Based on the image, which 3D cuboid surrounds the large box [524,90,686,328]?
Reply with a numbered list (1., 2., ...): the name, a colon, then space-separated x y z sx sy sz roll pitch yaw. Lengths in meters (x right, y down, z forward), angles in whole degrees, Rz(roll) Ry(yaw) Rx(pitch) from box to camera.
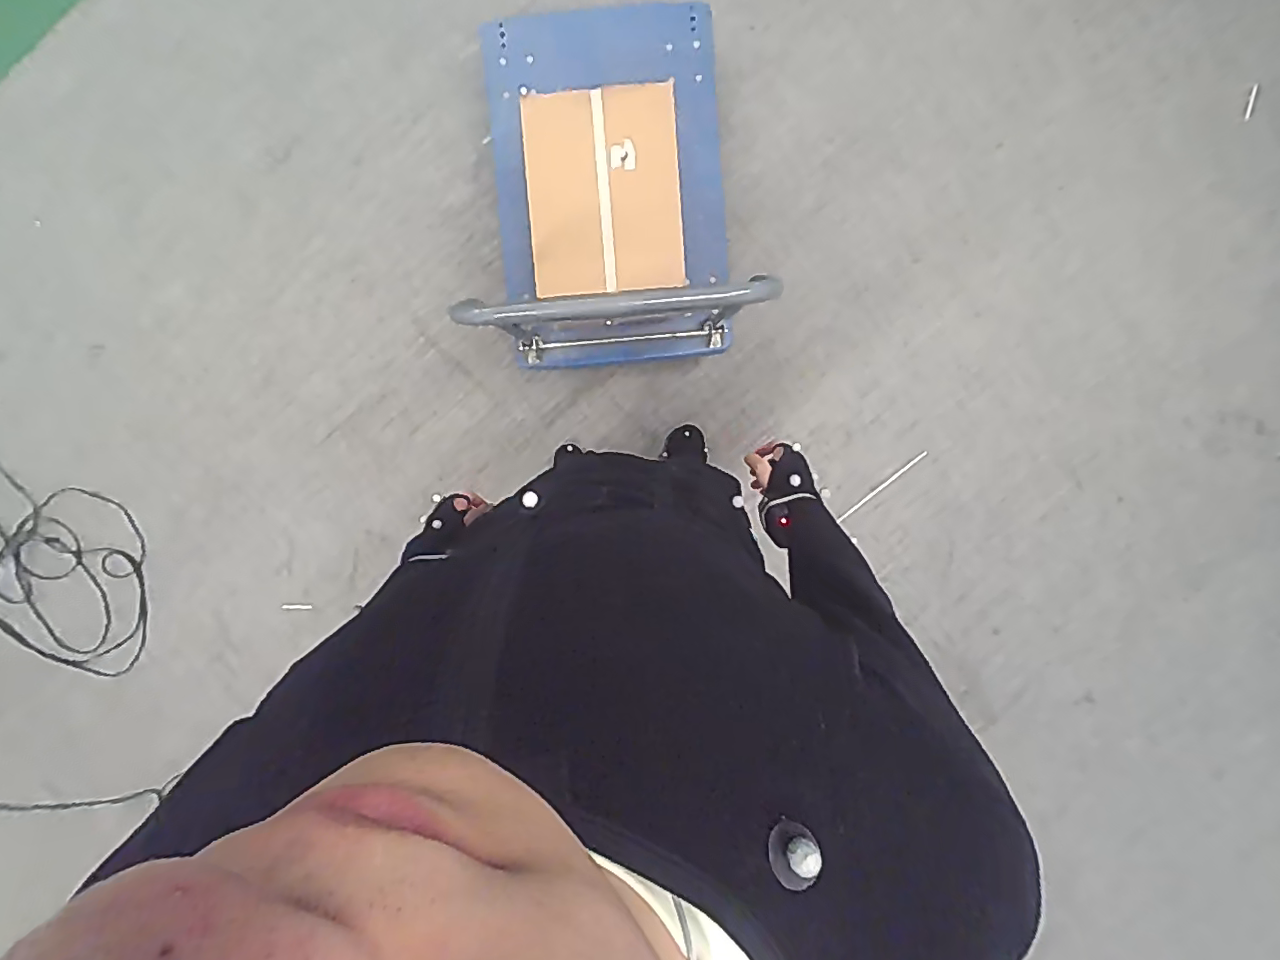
1. large box: -0.069 -0.601 1.272 0.320 0.320 0.408 -4 94 1
